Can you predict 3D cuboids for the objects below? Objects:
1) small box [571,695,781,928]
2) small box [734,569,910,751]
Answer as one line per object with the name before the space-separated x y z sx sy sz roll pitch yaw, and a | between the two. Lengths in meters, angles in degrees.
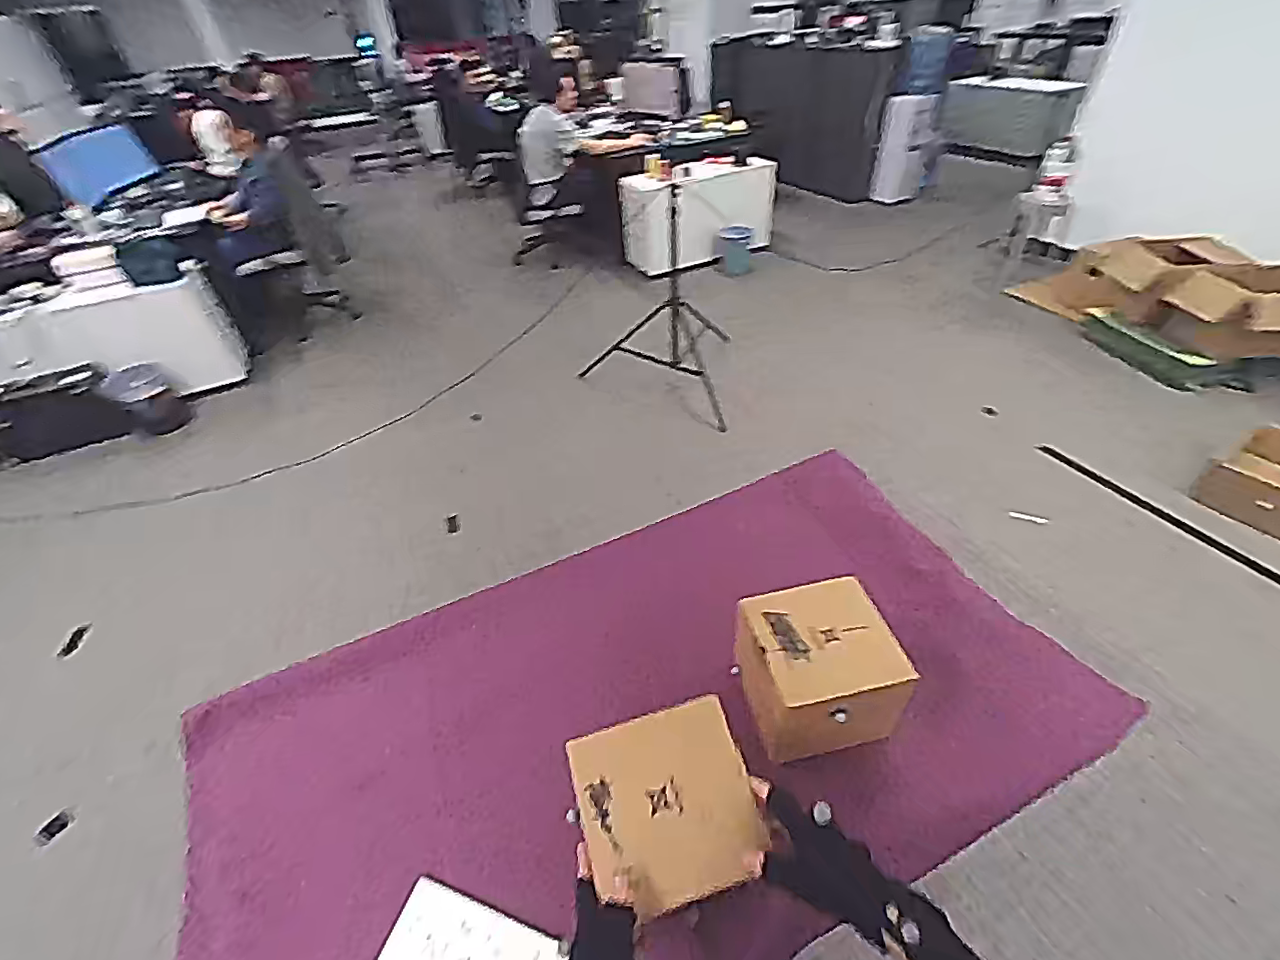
small box | 0.026 0.363 0.594 0.179 0.176 0.168 -11 50 -11
small box | 0.241 0.255 0.763 0.179 0.176 0.168 -10 41 -6
